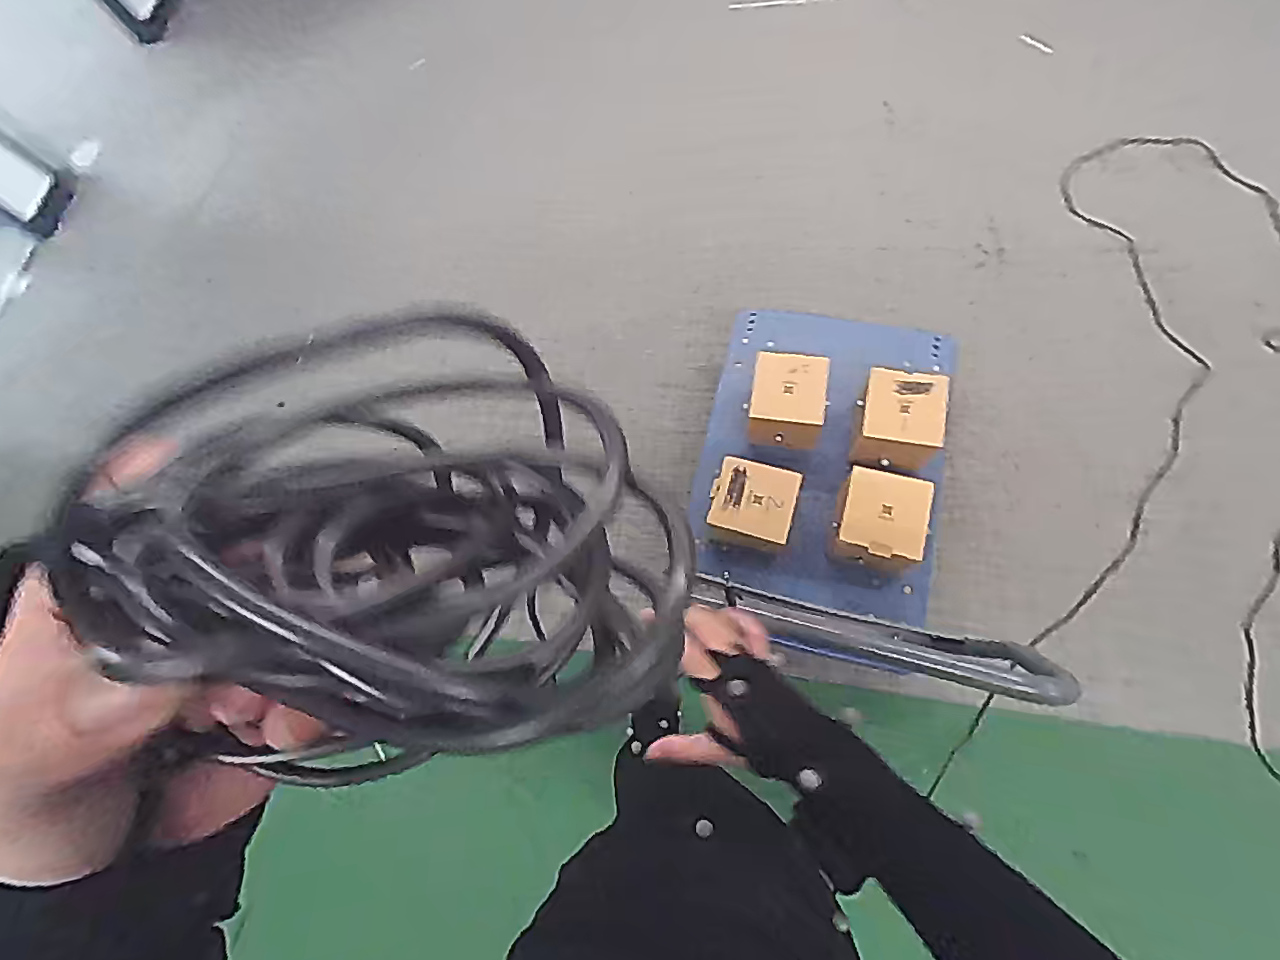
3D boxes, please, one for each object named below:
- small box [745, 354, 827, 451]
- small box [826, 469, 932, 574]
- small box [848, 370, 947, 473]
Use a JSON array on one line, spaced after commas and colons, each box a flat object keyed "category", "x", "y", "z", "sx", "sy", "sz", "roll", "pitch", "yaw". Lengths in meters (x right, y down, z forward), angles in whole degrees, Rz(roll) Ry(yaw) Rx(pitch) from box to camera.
[{"category": "small box", "x": 0.352, "y": -0.183, "z": 1.322, "sx": 0.168, "sy": 0.176, "sz": 0.179, "roll": 8, "pitch": 74, "yaw": 11}, {"category": "small box", "x": 0.525, "y": 0.097, "z": 1.205, "sx": 0.168, "sy": 0.176, "sz": 0.179, "roll": 14, "pitch": 75, "yaw": 13}, {"category": "small box", "x": 0.596, "y": -0.133, "z": 1.267, "sx": 0.168, "sy": 0.176, "sz": 0.179, "roll": 10, "pitch": 75, "yaw": 13}]
